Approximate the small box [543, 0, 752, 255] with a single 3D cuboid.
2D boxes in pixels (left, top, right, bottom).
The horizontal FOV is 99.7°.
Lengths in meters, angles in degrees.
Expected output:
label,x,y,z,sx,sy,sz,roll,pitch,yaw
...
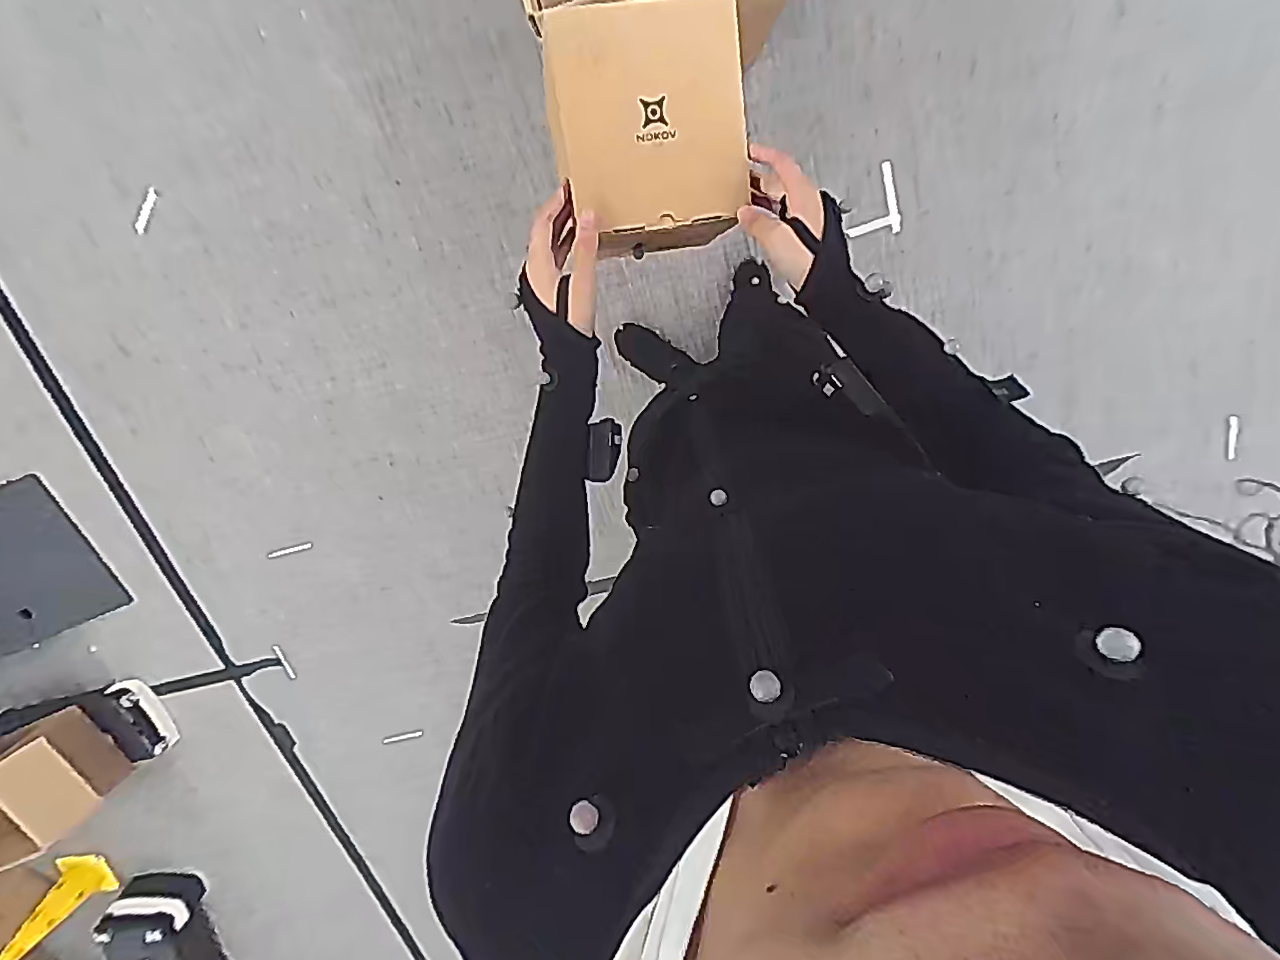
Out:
label,x,y,z,sx,sy,sz,roll,pitch,yaw
small box,-0.001,-0.338,0.541,0.168,0.176,0.179,-11,107,-5
